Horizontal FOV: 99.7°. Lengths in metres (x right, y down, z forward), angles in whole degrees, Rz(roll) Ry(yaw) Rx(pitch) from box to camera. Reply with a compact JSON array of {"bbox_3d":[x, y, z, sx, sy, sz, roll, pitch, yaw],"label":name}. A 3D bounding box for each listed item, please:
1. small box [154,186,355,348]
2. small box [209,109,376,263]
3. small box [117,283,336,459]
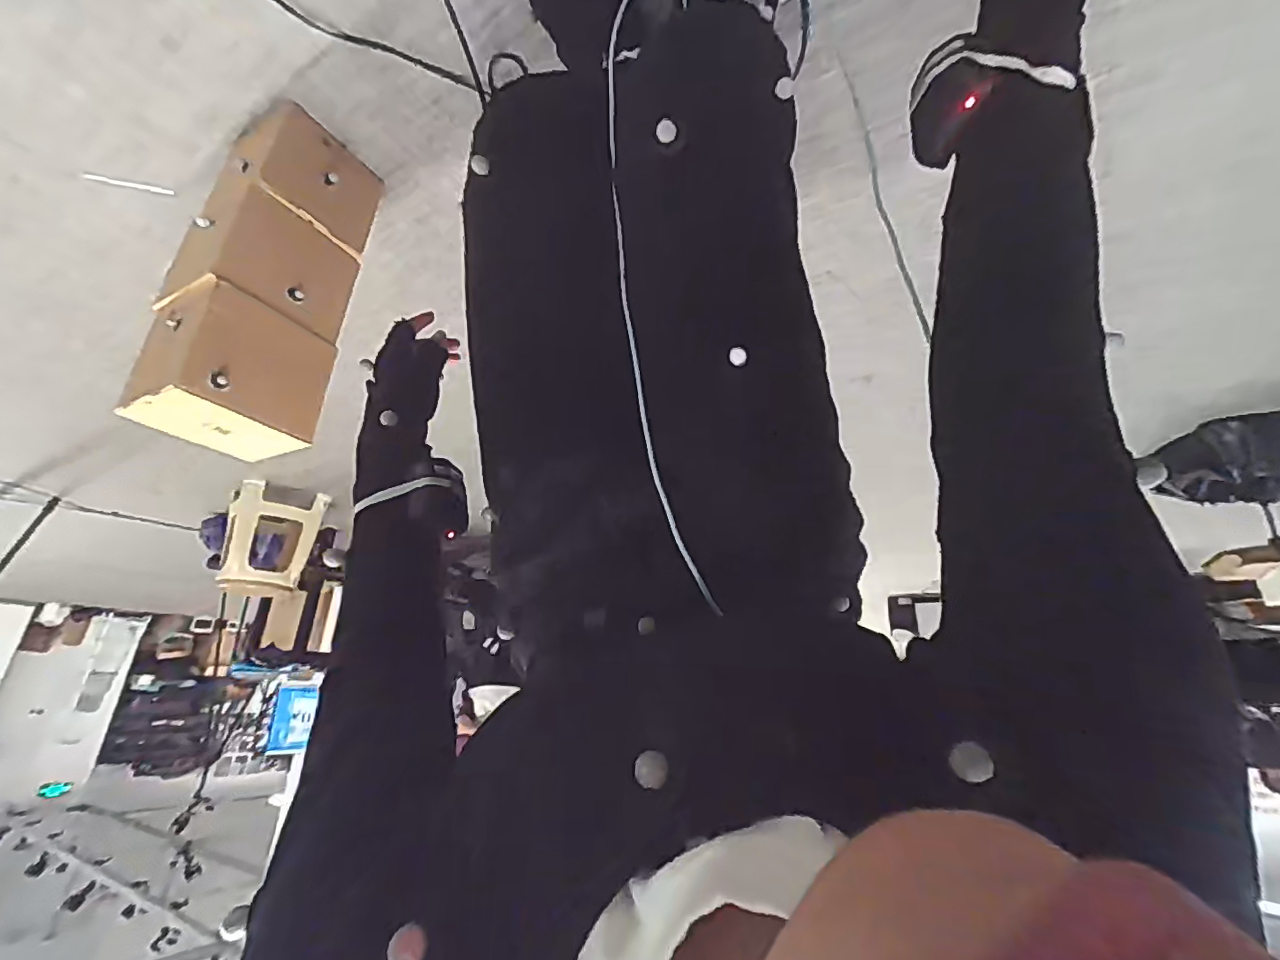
[{"bbox_3d":[-0.575,-0.301,0.828,0.168,0.176,0.179,-9,155,26],"label":"small box"},{"bbox_3d":[-0.562,-0.455,0.886,0.179,0.176,0.168,-10,155,27],"label":"small box"},{"bbox_3d":[-0.576,-0.147,0.776,0.168,0.176,0.179,-9,155,27],"label":"small box"}]
